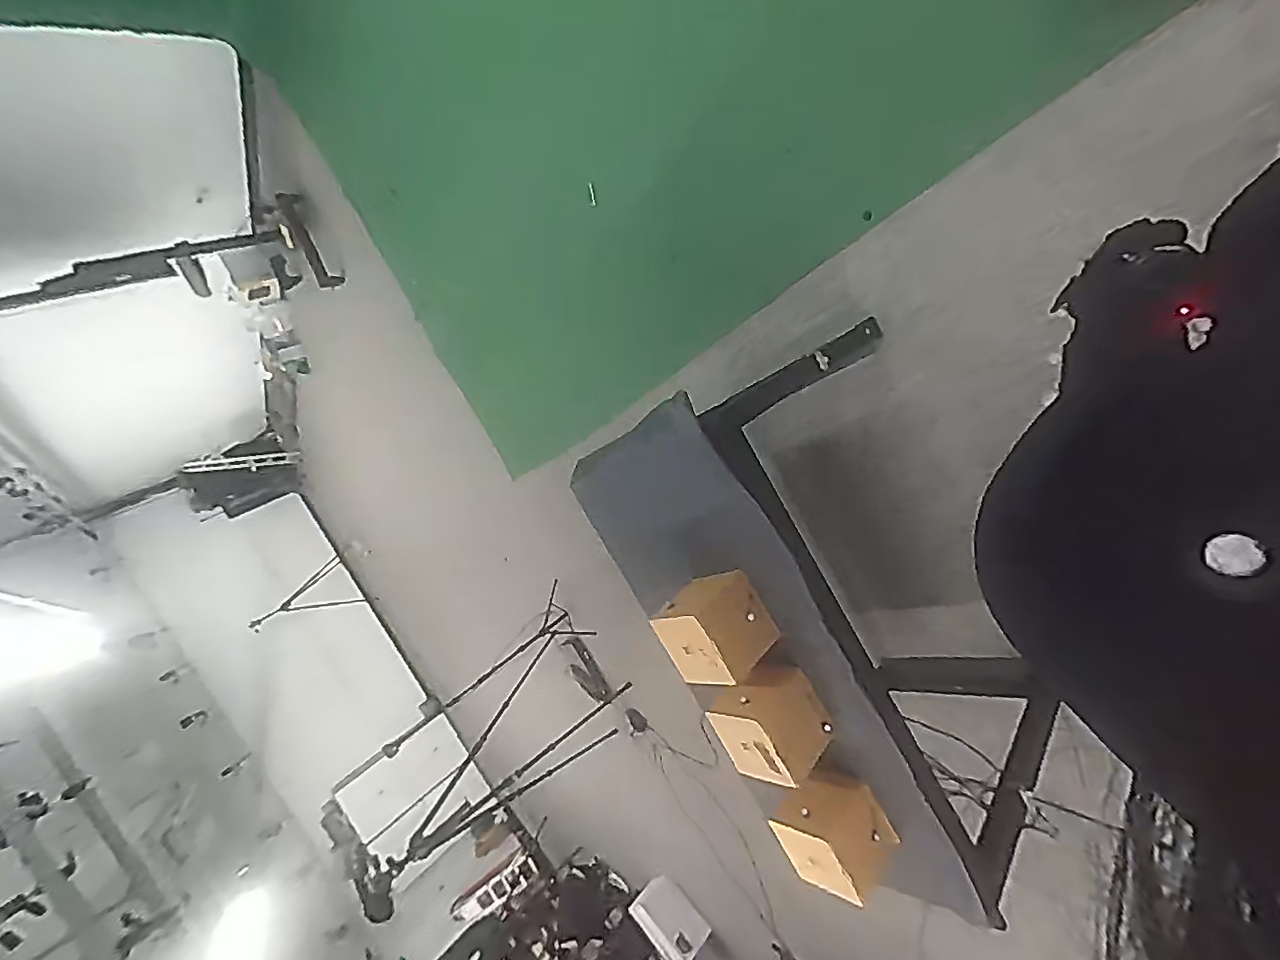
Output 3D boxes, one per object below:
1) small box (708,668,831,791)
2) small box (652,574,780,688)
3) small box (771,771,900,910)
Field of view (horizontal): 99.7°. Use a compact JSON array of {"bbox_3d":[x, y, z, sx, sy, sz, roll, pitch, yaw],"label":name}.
[{"bbox_3d":[0.289,0.530,1.176,0.179,0.176,0.168,-25,96,54],"label":"small box"},{"bbox_3d":[0.164,0.322,1.165,0.179,0.176,0.168,-28,94,54],"label":"small box"},{"bbox_3d":[0.432,0.780,1.195,0.179,0.176,0.168,-27,94,54],"label":"small box"}]
